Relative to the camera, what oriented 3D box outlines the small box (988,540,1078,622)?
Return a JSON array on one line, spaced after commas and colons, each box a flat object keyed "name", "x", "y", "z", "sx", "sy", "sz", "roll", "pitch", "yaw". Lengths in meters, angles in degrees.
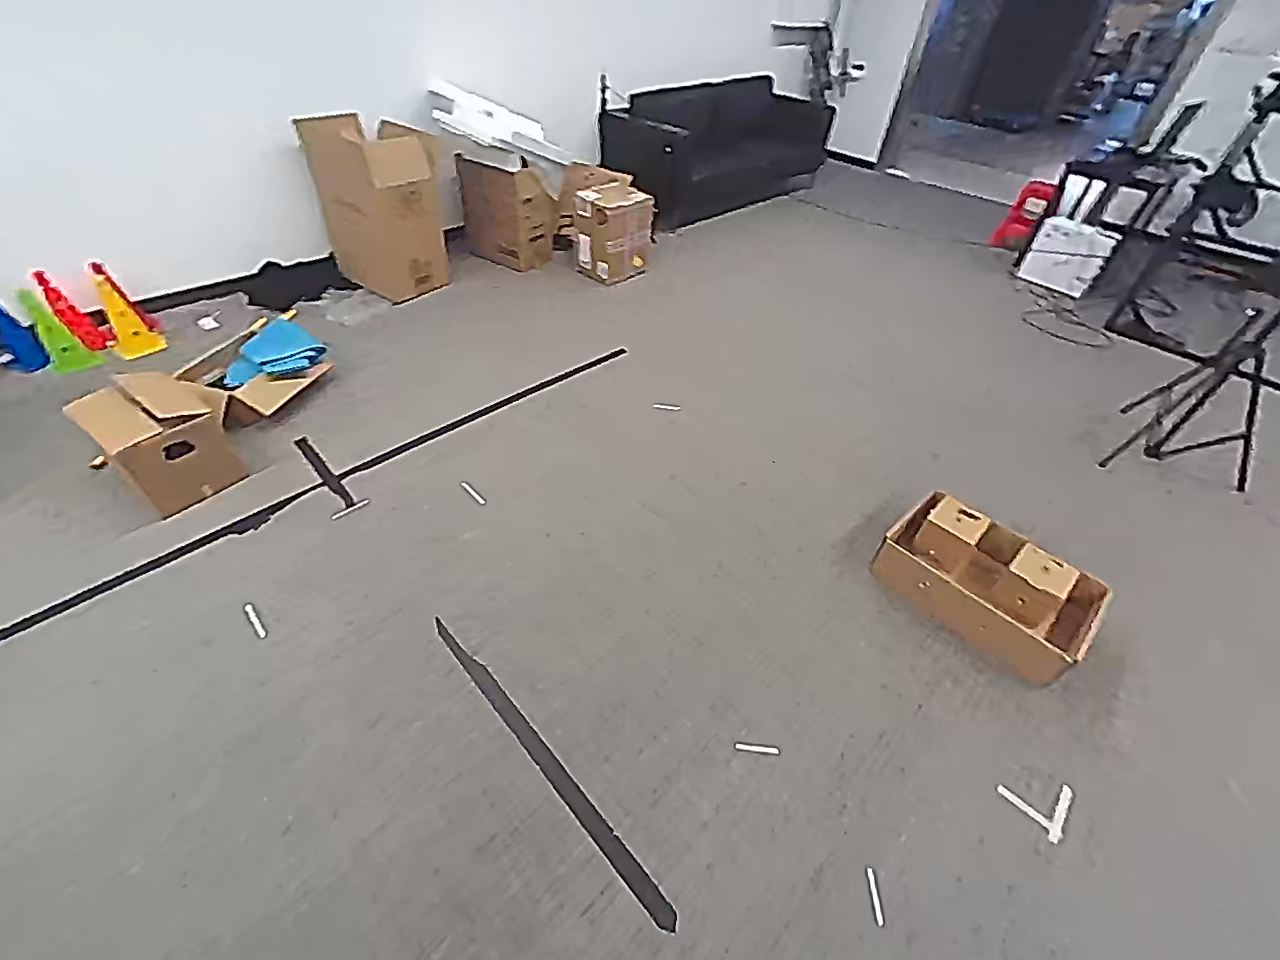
[{"name": "small box", "x": 1.303, "y": 0.340, "z": 1.807, "sx": 0.179, "sy": 0.176, "sz": 0.168, "roll": -31, "pitch": 51, "yaw": -30}]
